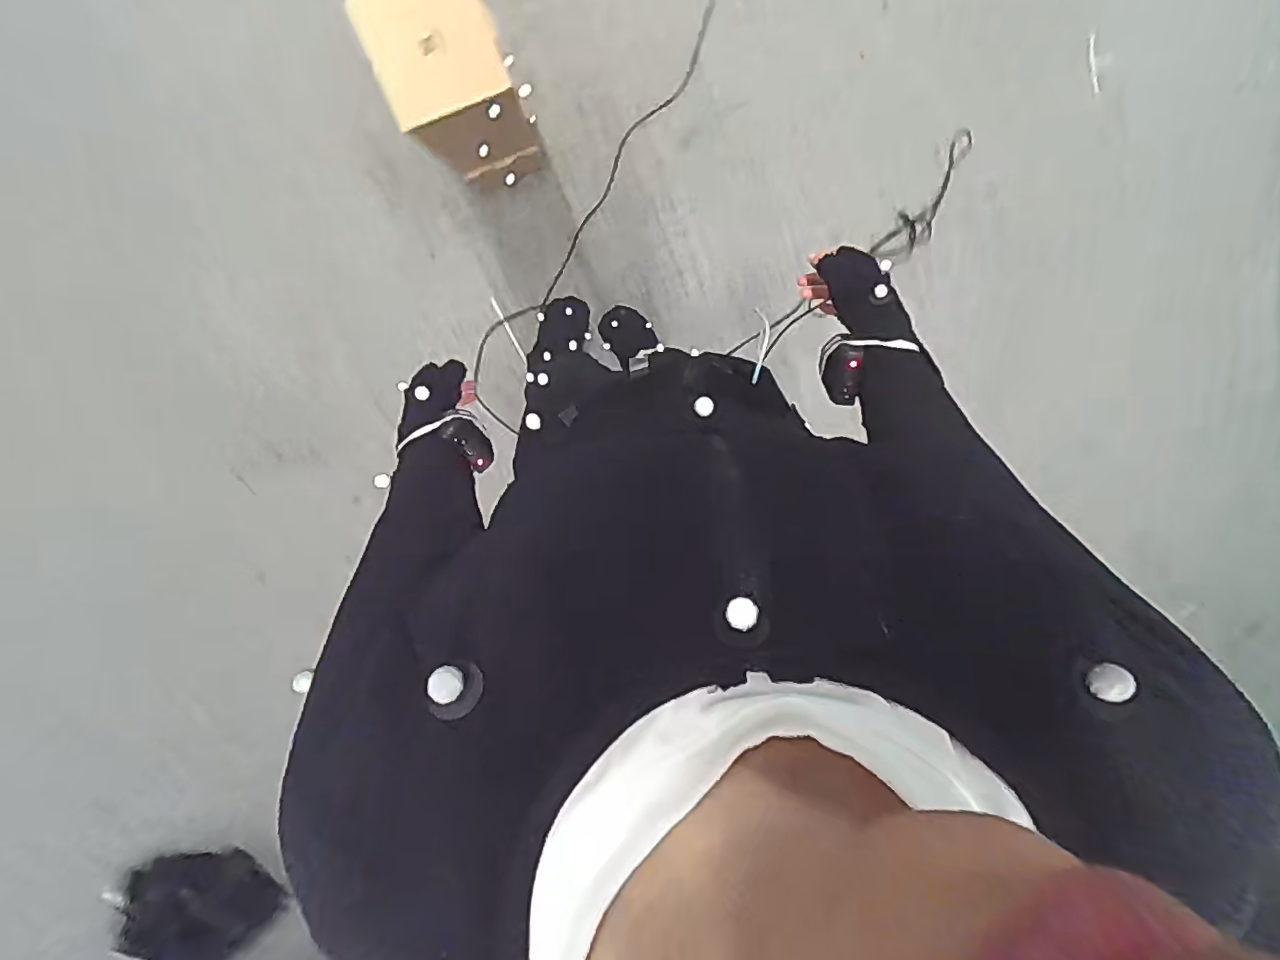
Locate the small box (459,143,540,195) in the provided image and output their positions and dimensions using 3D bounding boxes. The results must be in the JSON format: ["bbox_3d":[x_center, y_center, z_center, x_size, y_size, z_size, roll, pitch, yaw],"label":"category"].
[{"bbox_3d":[-0.321,-0.724,1.141,0.168,0.176,0.179,-22,110,2],"label":"small box"}]

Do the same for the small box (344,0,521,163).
[{"bbox_3d":[-0.302,-0.619,0.830,0.179,0.176,0.168,-22,109,2],"label":"small box"}]

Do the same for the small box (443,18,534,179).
[{"bbox_3d":[-0.309,-0.676,0.983,0.179,0.176,0.168,-22,109,1],"label":"small box"}]
